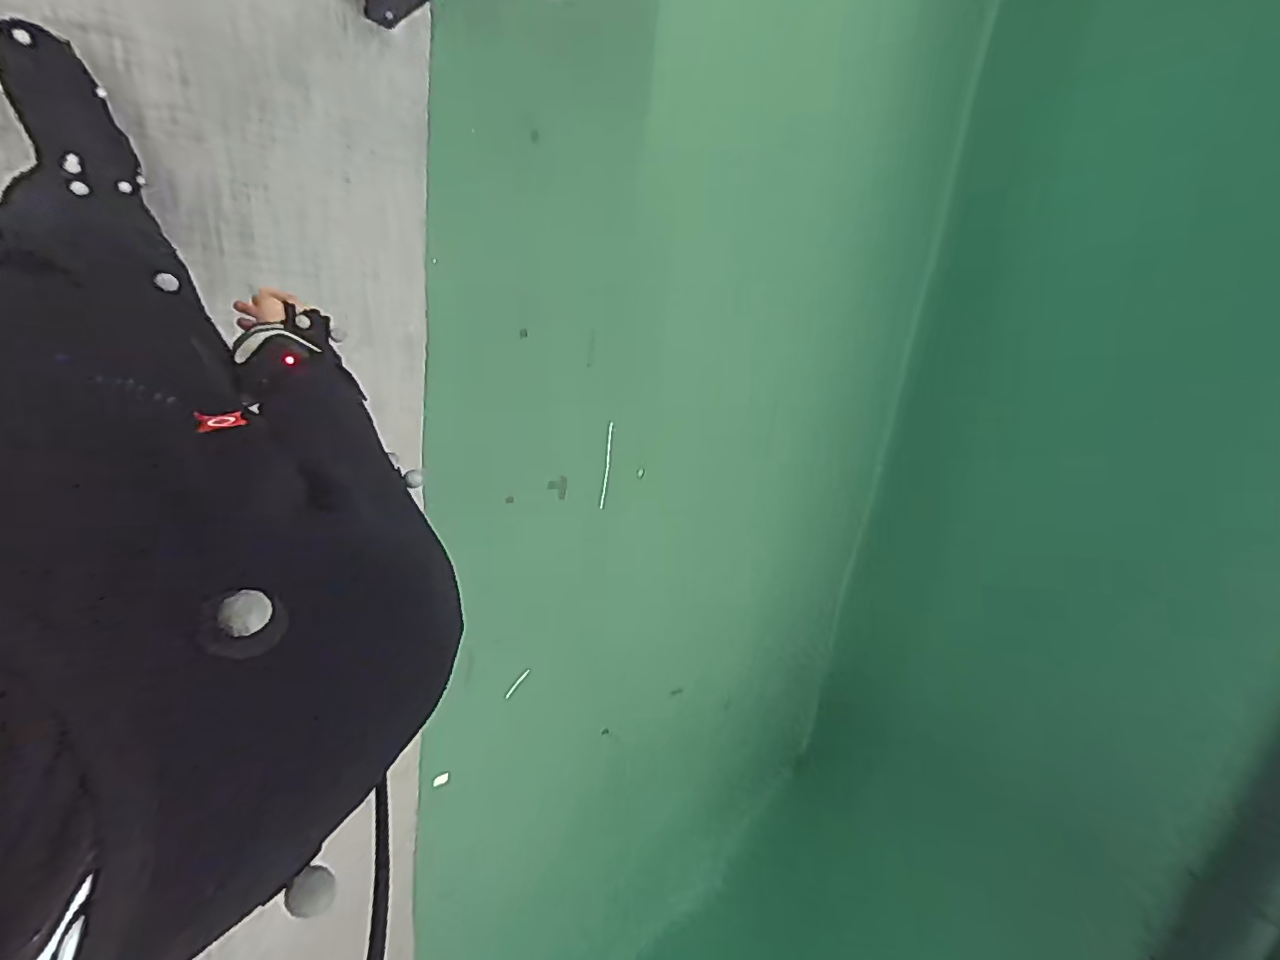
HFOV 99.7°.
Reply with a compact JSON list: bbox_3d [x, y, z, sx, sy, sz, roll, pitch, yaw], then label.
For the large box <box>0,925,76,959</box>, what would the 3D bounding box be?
[{"bbox_3d":[-1.283,1.137,0.955,0.408,0.320,0.320,0,105,-46],"label":"large box"}]
